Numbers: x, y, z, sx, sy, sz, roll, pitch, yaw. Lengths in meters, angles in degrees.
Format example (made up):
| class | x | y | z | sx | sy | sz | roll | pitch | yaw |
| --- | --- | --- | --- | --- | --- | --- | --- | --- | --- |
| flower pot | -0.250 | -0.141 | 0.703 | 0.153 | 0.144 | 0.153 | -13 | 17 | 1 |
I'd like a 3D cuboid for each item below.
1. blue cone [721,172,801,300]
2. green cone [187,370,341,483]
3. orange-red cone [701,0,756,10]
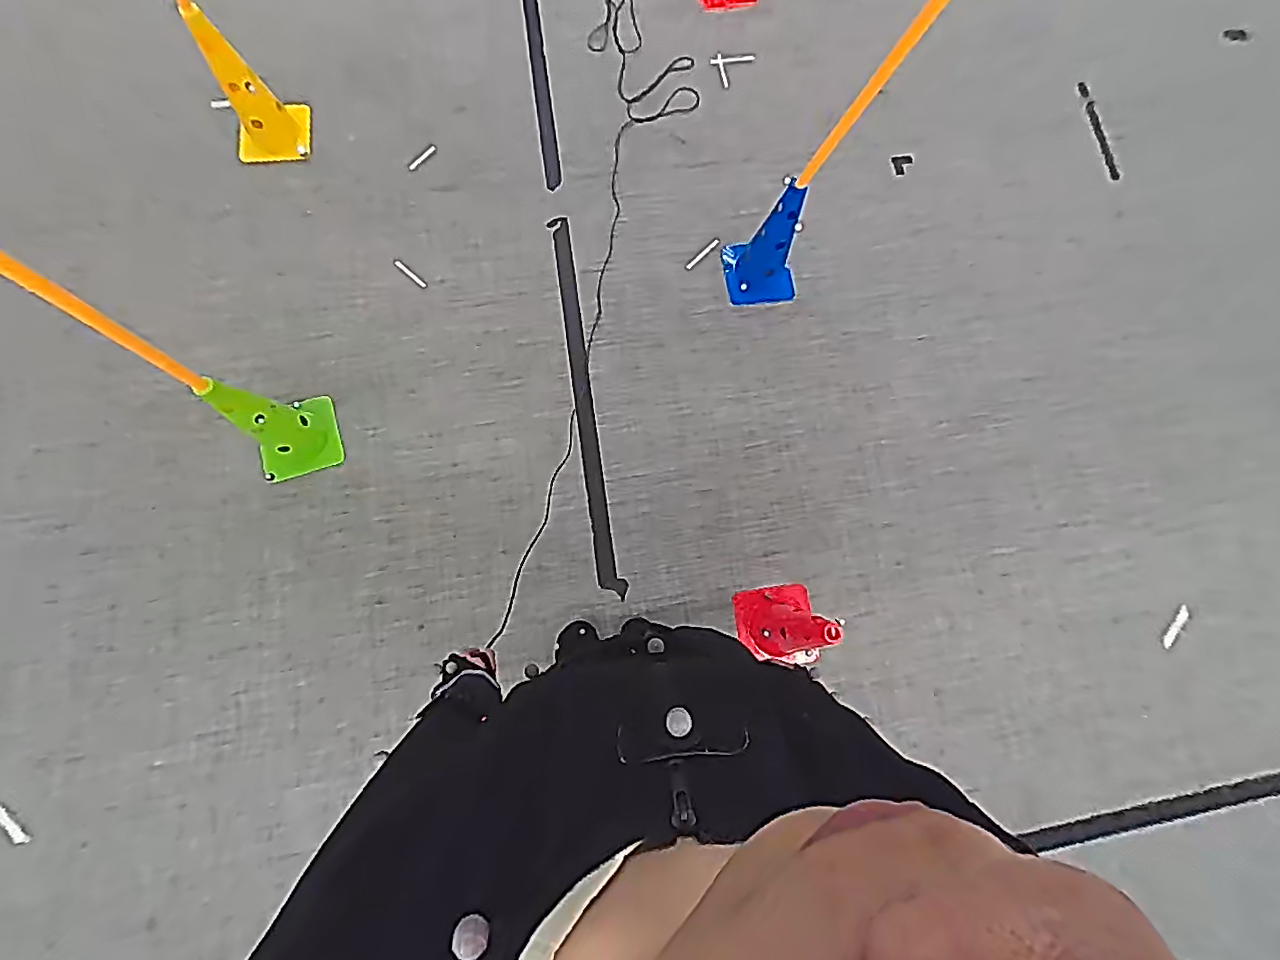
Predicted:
| class | x | y | z | sx | sy | sz | roll | pitch | yaw |
| --- | --- | --- | --- | --- | --- | --- | --- | --- | --- |
| blue cone | 0.357 | -0.666 | 1.465 | 0.193 | 0.380 | 0.192 | -5 | 76 | -5 |
| green cone | -0.888 | -0.151 | 1.250 | 0.200 | 0.368 | 0.202 | -19 | 77 | -8 |
| orange-red cone | 0.297 | -1.749 | 1.704 | 0.199 | 0.360 | 0.198 | -13 | 77 | -5 |
